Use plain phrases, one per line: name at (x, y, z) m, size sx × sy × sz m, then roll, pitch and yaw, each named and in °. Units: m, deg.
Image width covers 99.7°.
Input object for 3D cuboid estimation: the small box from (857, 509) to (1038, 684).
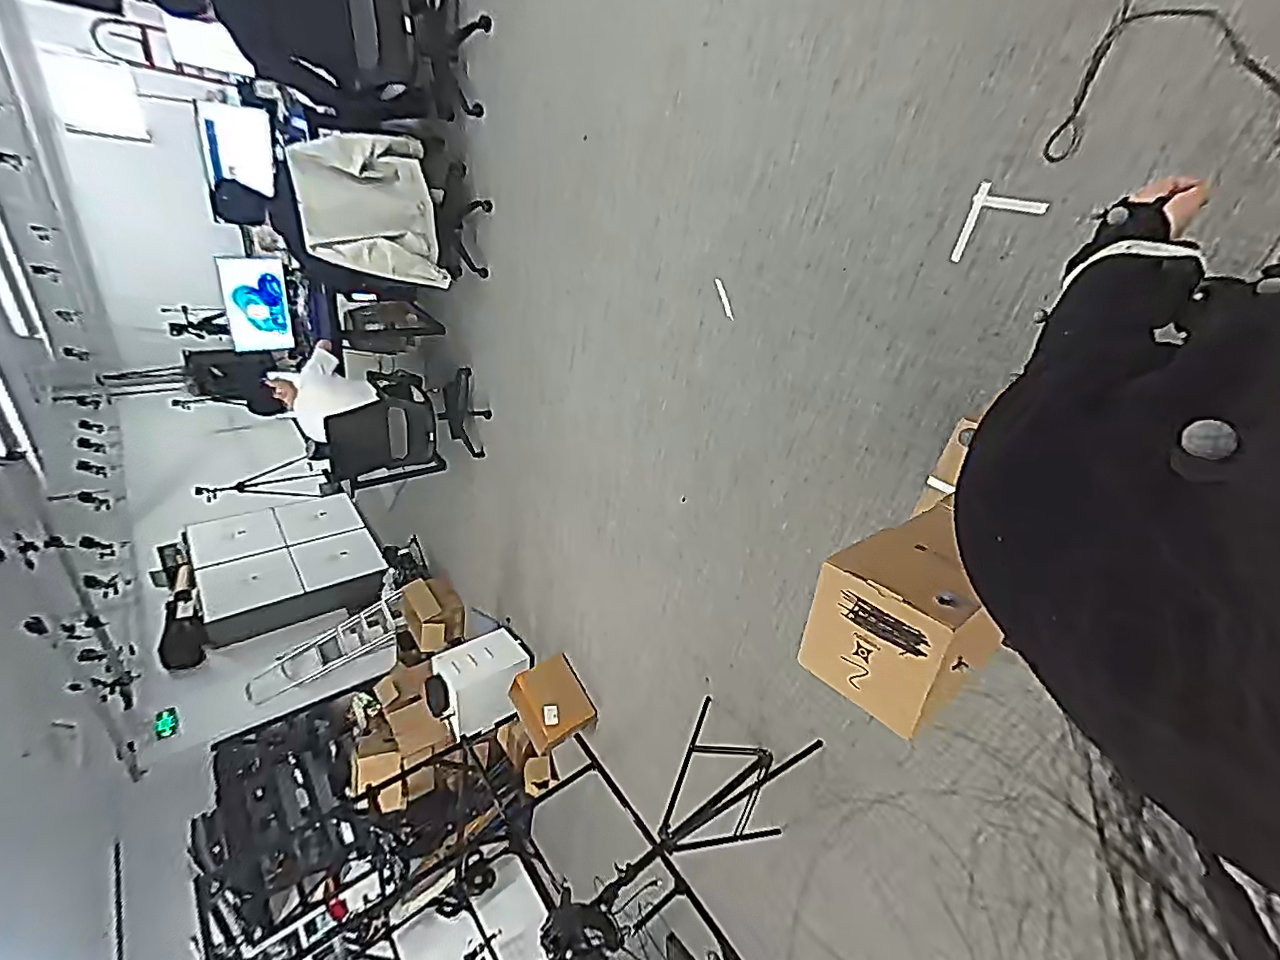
small box at (0.468, 0.164, 0.824) m, size 0.168 × 0.176 × 0.179 m, roll 31°, pitch 125°, yaw 43°
